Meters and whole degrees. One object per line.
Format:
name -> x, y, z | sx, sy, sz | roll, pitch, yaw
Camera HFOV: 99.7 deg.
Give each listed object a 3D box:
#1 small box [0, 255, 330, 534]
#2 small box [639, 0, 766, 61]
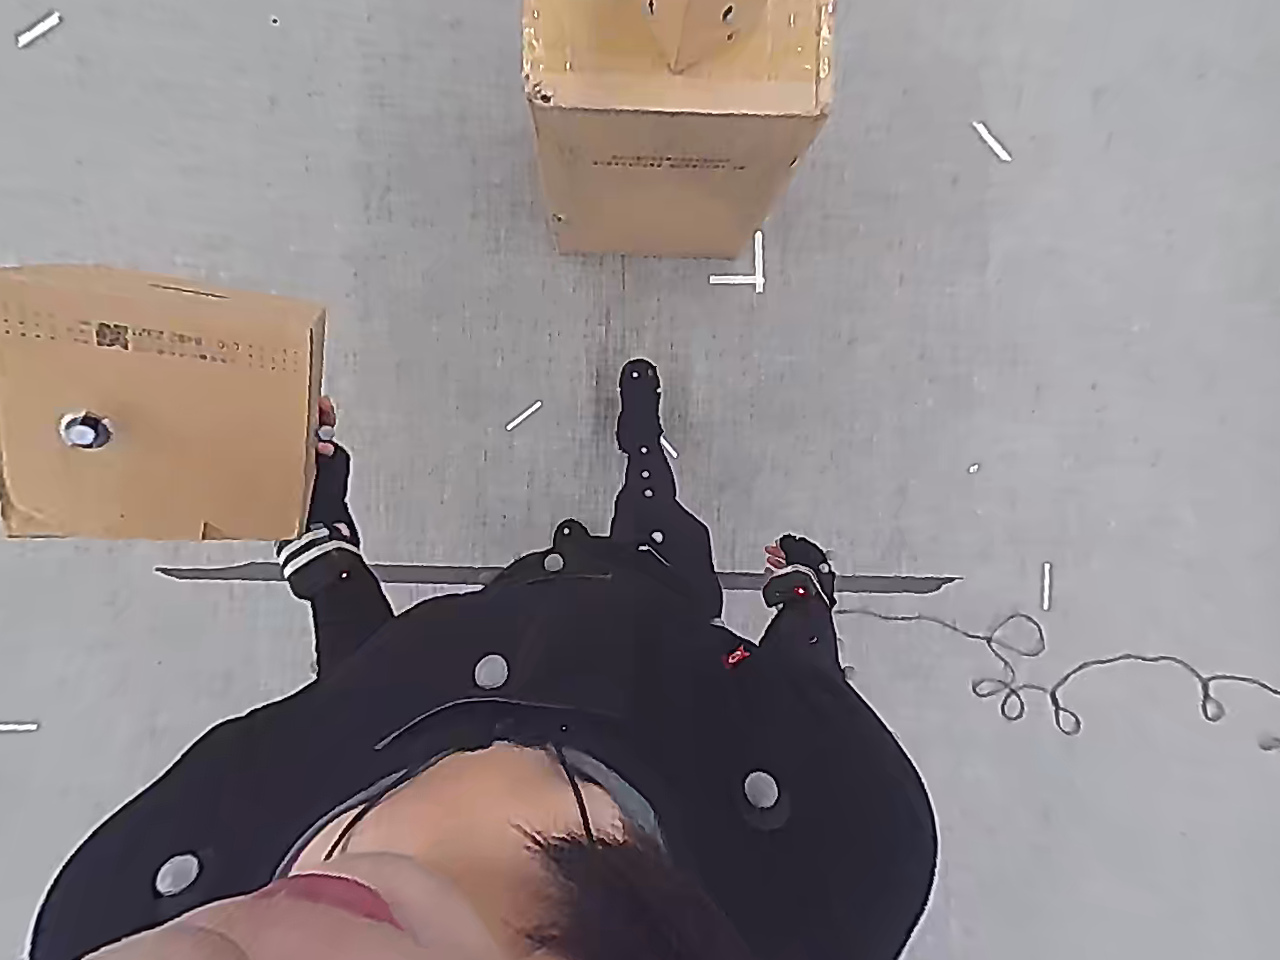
small box -> -0.347, -0.071, 0.426 | 0.168, 0.179, 0.176 | 6, 109, -28
small box -> 0.094, -0.787, 0.817 | 0.168, 0.176, 0.179 | -30, 94, -3
